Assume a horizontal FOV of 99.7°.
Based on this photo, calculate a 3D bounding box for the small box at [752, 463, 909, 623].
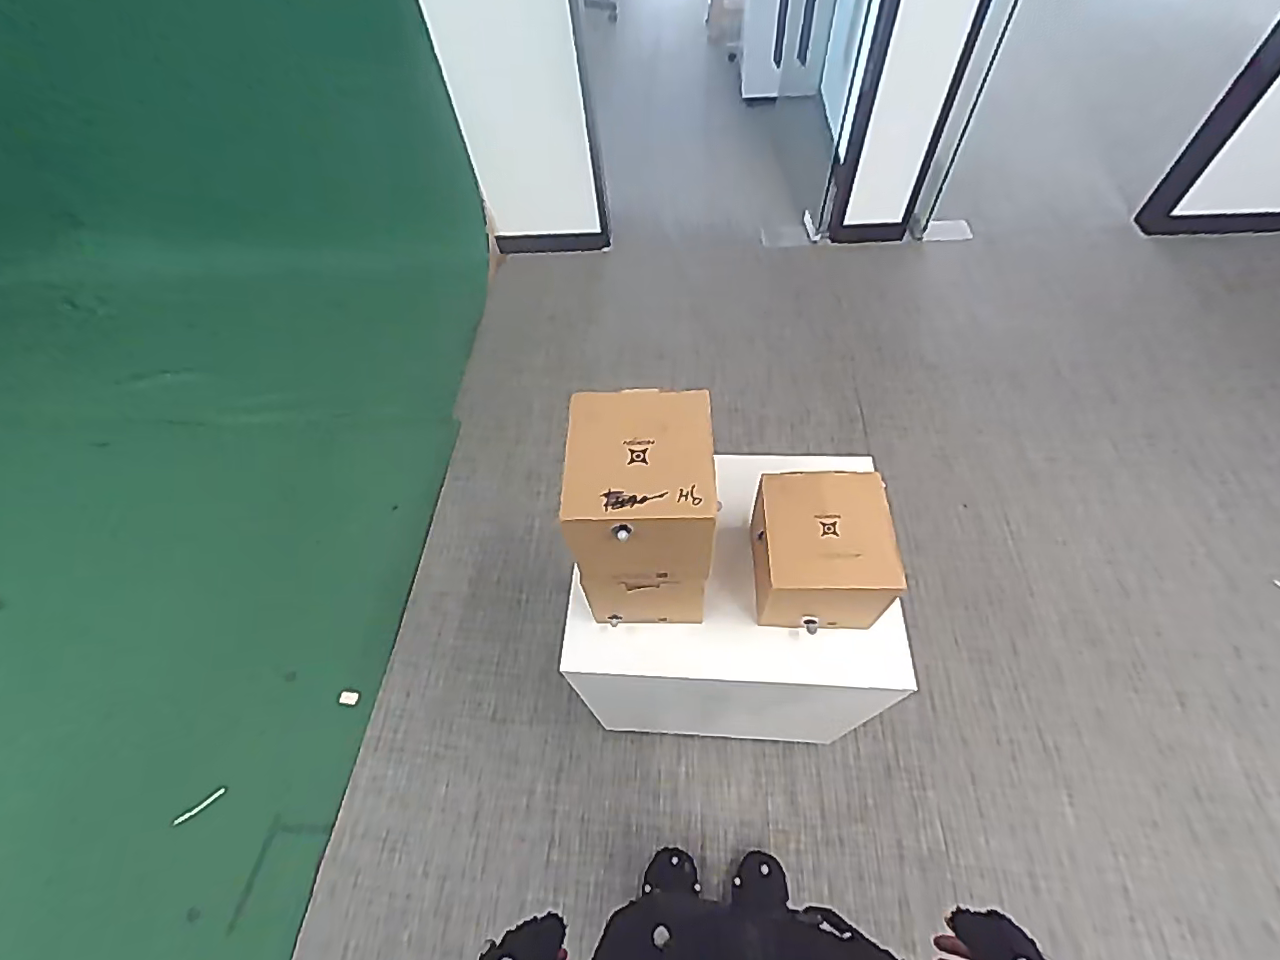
[{"bbox_3d":[0.254,0.093,0.772,0.168,0.176,0.179,-2,59,6],"label":"small box"}]

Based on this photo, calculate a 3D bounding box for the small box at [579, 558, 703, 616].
[{"bbox_3d":[0.010,0.097,0.808,0.168,0.176,0.179,-1,56,4],"label":"small box"}]

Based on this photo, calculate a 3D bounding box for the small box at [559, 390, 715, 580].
[{"bbox_3d":[0.003,0.009,0.671,0.168,0.176,0.179,-1,57,4],"label":"small box"}]
